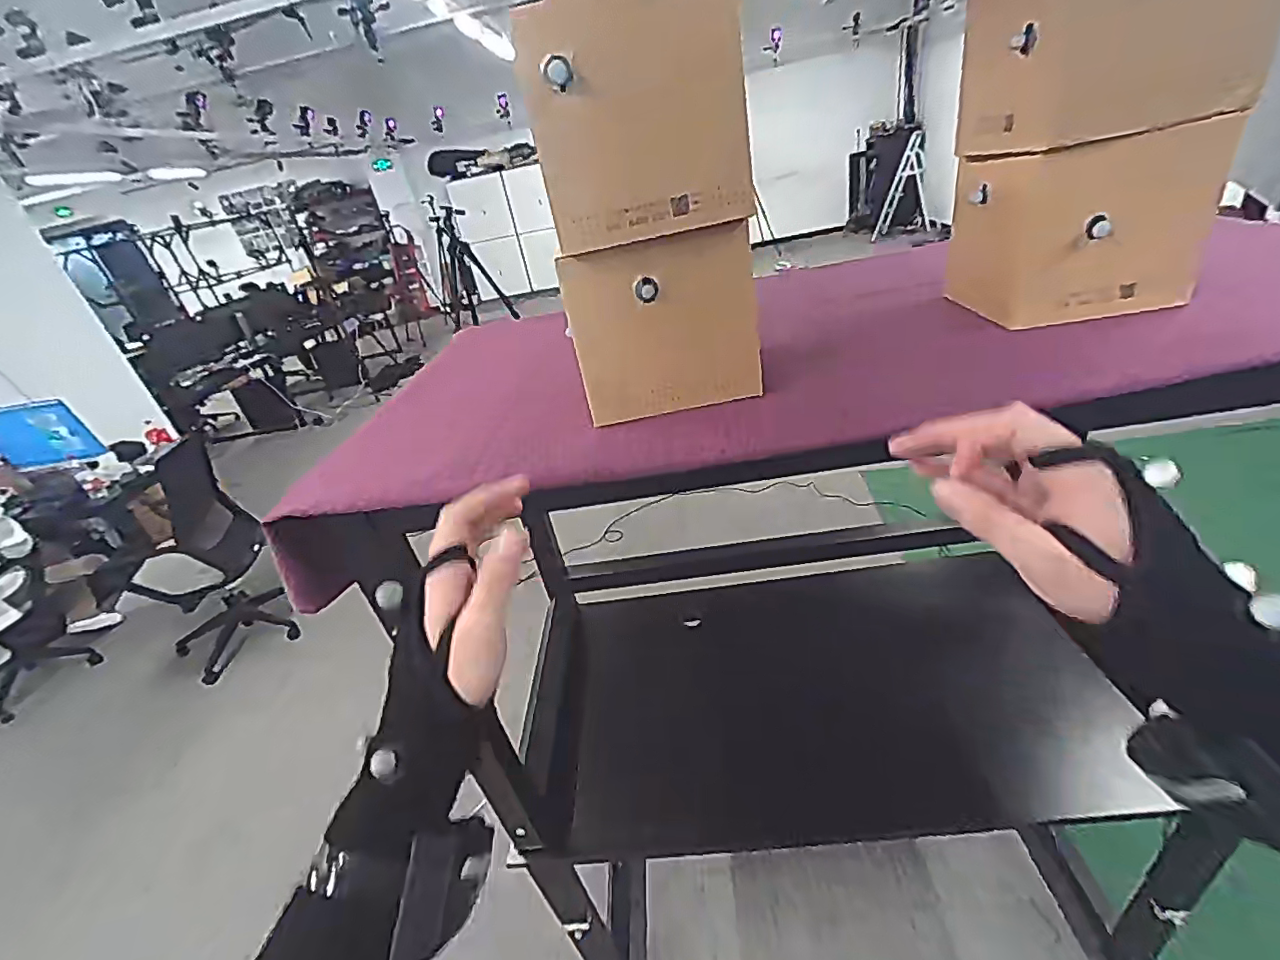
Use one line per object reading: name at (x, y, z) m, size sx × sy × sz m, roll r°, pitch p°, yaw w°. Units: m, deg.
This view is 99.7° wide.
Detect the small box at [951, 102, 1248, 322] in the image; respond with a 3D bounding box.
small box at (0.455, -0.277, 0.576) m, size 0.168 × 0.176 × 0.179 m, roll -7°, pitch 29°, yaw 9°

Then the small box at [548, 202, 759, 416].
small box at (0.017, -0.180, 0.570) m, size 0.179 × 0.176 × 0.168 m, roll -11°, pitch 30°, yaw 3°

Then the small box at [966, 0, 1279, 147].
small box at (0.421, -0.411, 0.489) m, size 0.179 × 0.176 × 0.168 m, roll -9°, pitch 30°, yaw 6°
